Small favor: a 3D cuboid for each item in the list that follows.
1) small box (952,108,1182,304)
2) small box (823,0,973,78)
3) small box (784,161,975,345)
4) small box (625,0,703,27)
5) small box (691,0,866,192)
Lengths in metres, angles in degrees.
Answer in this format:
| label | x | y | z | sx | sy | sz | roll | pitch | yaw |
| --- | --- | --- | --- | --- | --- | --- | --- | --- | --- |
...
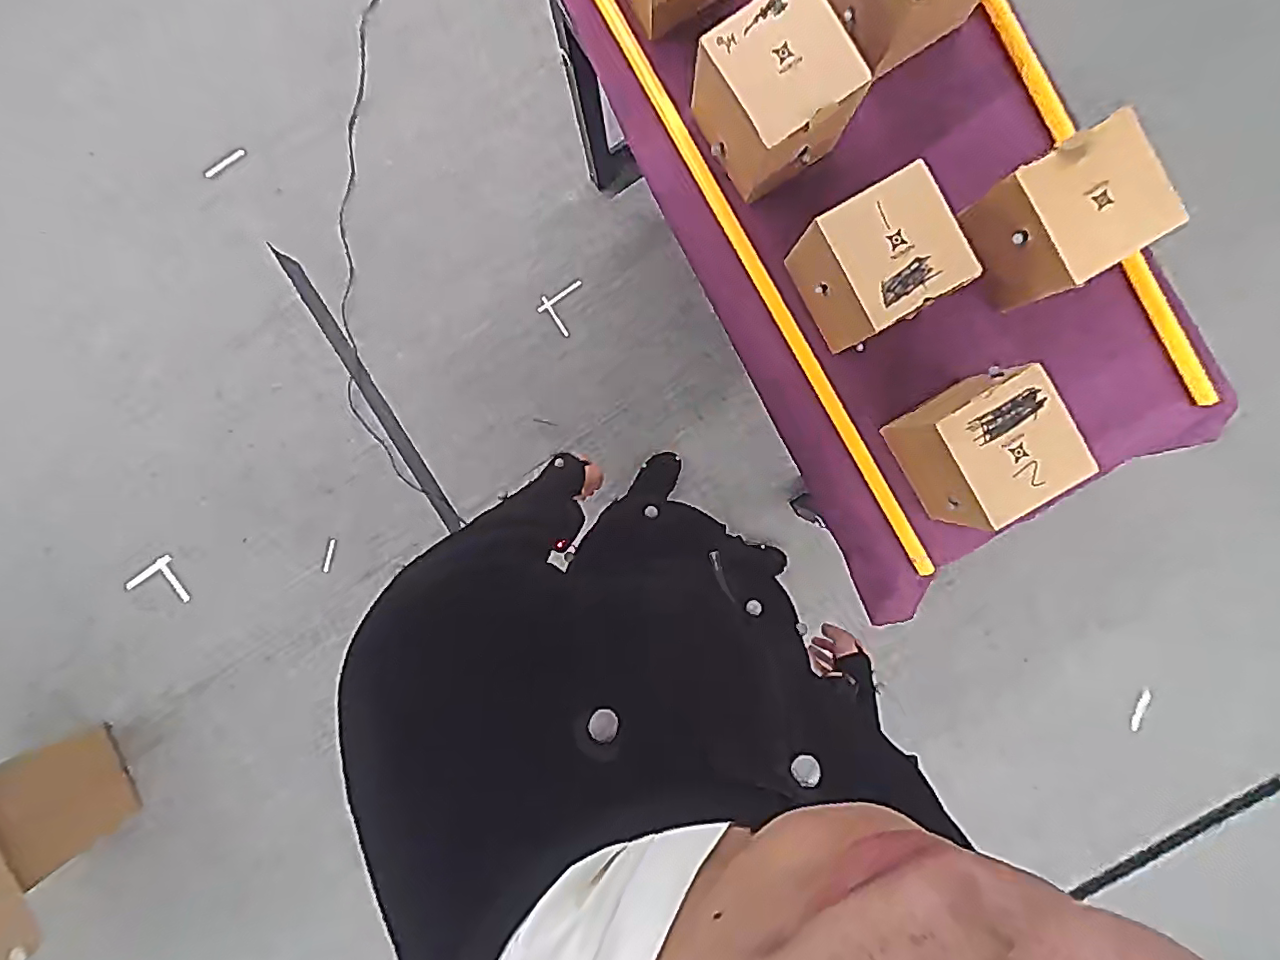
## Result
| label | x | y | z | sx | sy | sz | roll | pitch | yaw |
| --- | --- | --- | --- | --- | --- | --- | --- | --- | --- |
| small box | 0.607 | -0.380 | 0.795 | 0.168 | 0.176 | 0.179 | -31 | 91 | 4 |
| small box | 0.390 | -0.743 | 0.777 | 0.179 | 0.176 | 0.168 | -31 | 92 | 5 |
| small box | 0.341 | -0.318 | 0.804 | 0.168 | 0.176 | 0.179 | -29 | 91 | 1 |
| small box | 0.039 | -0.813 | 0.778 | 0.168 | 0.176 | 0.179 | -32 | 95 | 3 |
| small box | 0.190 | -0.559 | 0.793 | 0.168 | 0.176 | 0.179 | -32 | 93 | 3 |
